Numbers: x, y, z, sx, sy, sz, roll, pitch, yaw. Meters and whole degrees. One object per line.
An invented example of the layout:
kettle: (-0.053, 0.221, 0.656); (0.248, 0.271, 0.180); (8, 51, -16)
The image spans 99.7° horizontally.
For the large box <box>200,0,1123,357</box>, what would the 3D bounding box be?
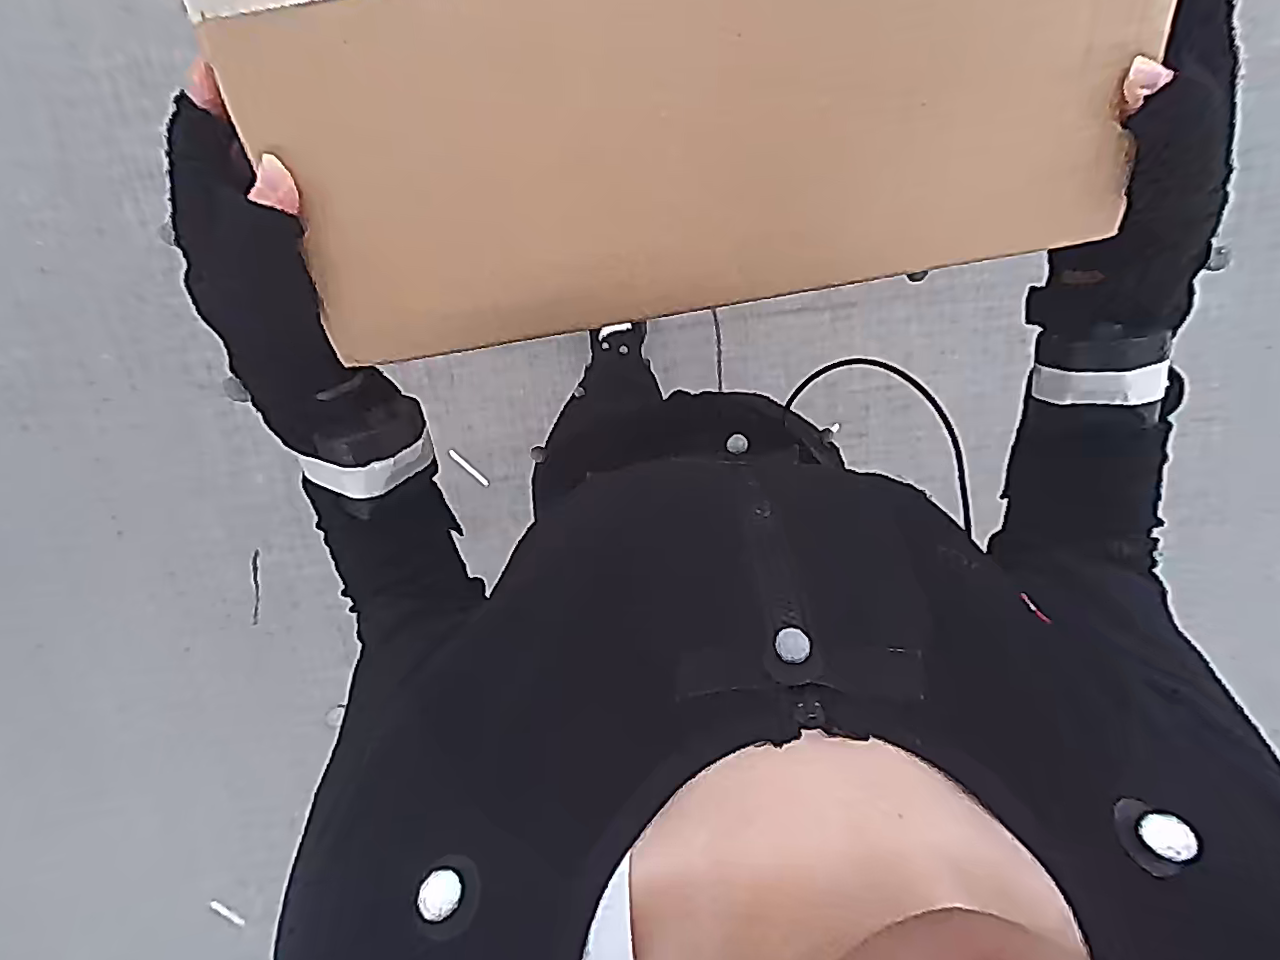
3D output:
large box: (0.005, -0.304, 0.349); (0.408, 0.320, 0.320); (-9, 118, 2)
